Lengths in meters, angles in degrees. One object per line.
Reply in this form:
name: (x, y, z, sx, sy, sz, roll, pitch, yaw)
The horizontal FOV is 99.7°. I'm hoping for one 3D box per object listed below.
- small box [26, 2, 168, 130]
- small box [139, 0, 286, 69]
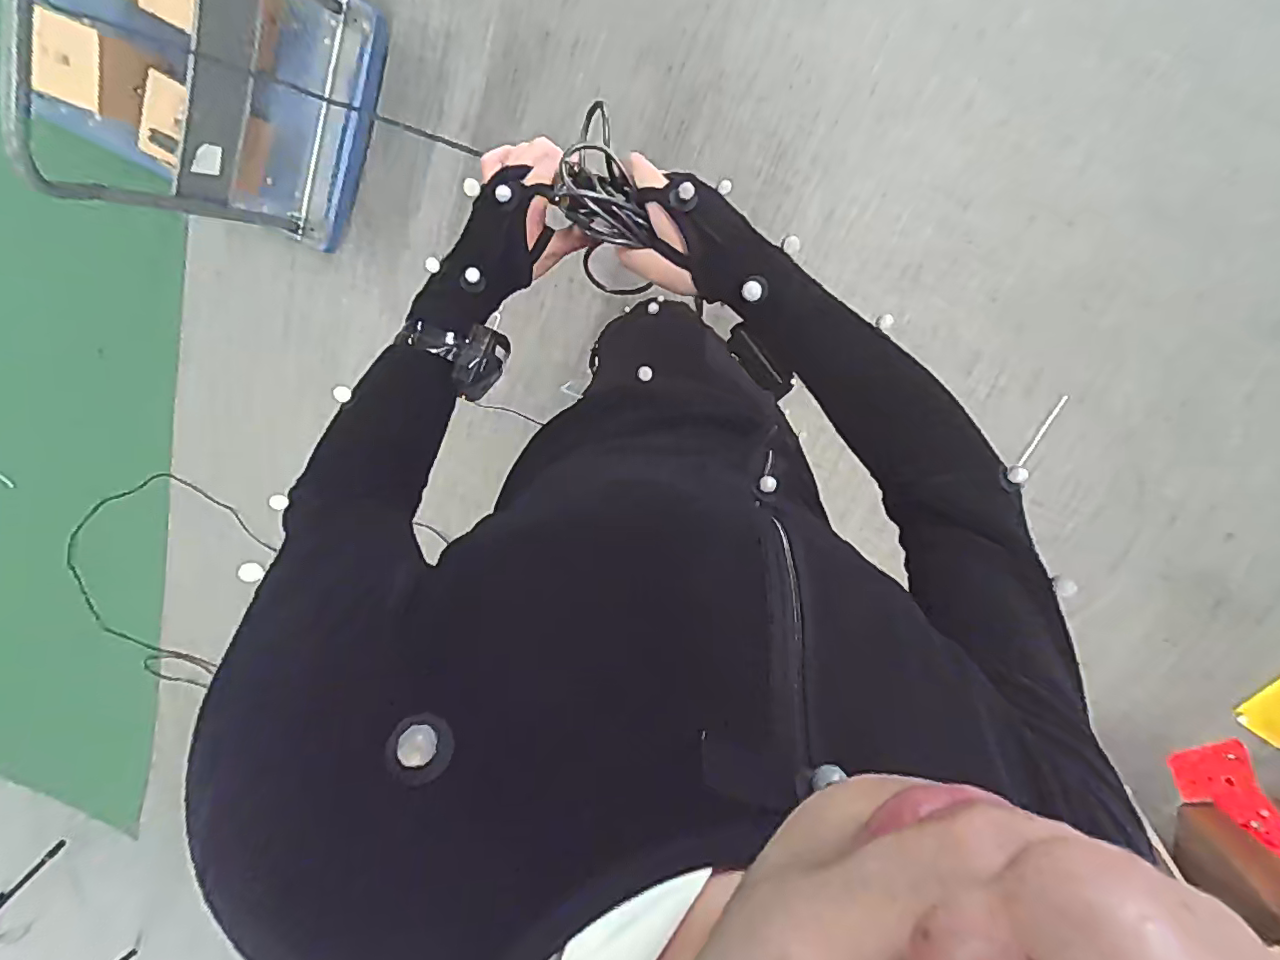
small box: (-1.262, -0.955, 1.268, 0.179, 0.176, 0.168, 23, 109, 0)
small box: (-0.932, -1.053, 1.188, 0.179, 0.176, 0.168, 27, 110, -2)
